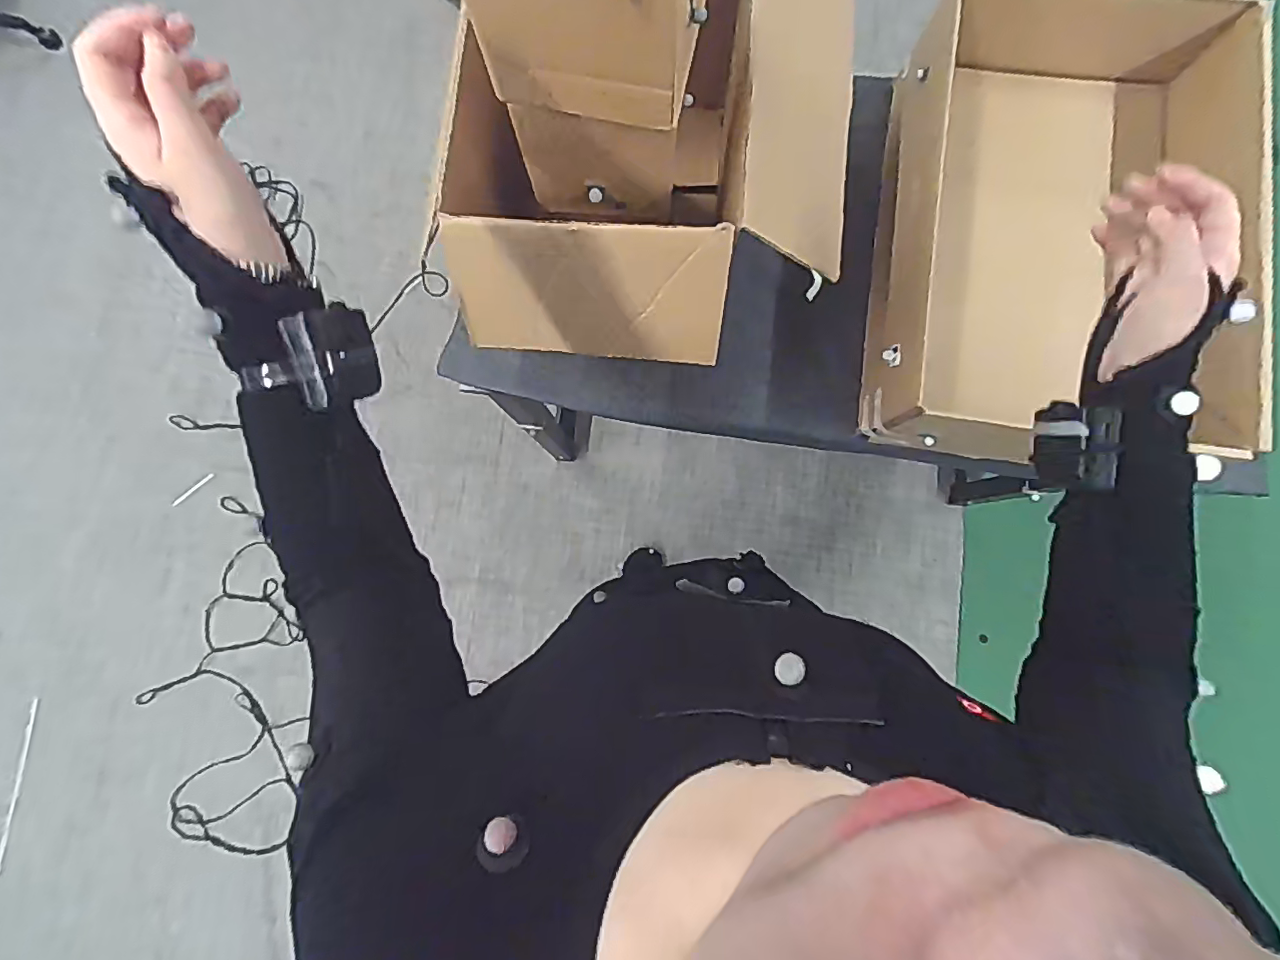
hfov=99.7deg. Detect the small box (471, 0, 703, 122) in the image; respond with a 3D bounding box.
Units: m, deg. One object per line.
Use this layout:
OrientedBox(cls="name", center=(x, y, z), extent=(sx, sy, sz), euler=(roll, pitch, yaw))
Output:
OrientedBox(cls="small box", center=(-0.039, -0.435, 0.441), extent=(0.179, 0.176, 0.168), euler=(12, 84, 2))
